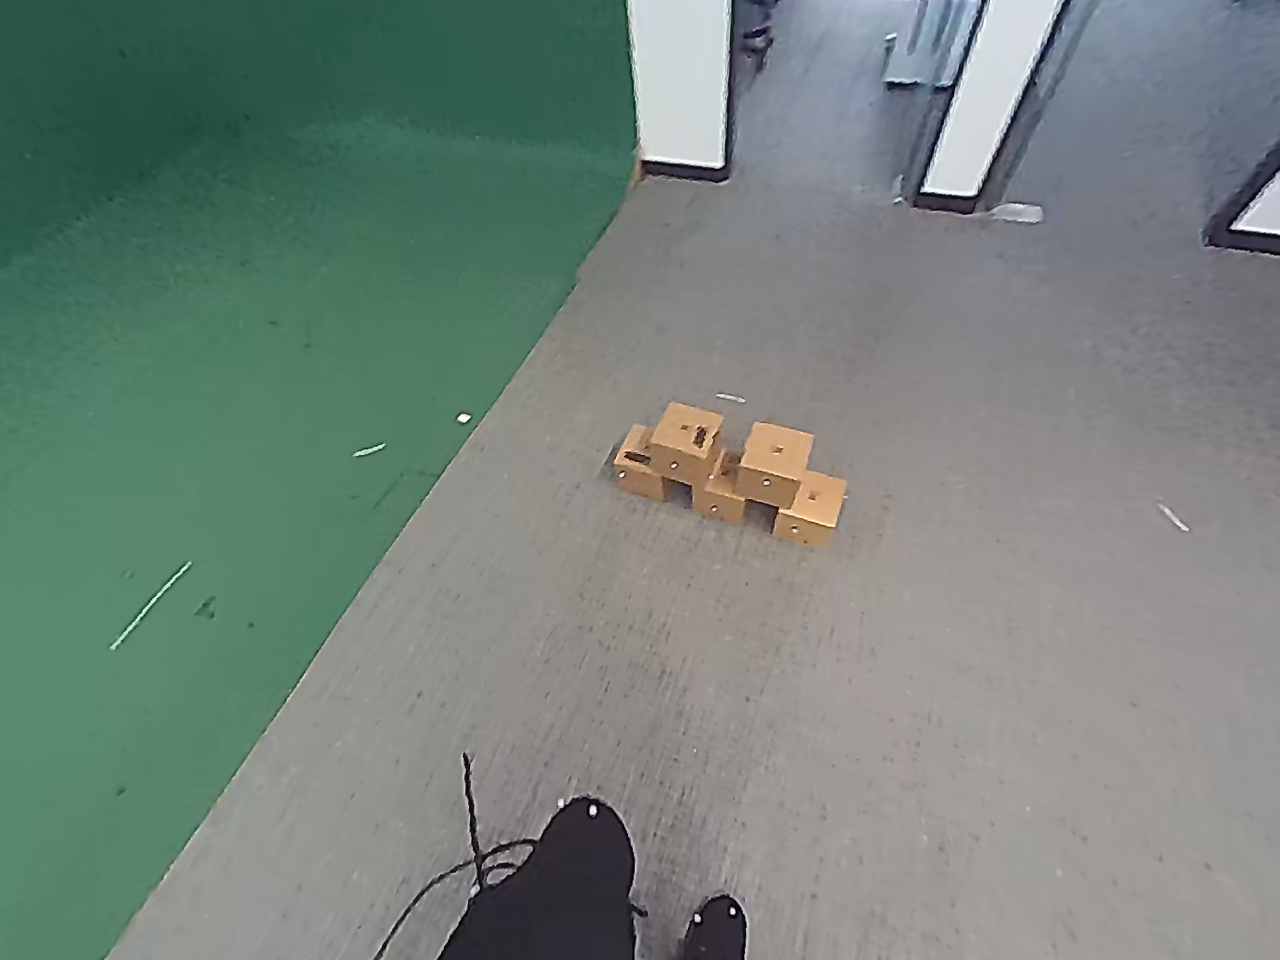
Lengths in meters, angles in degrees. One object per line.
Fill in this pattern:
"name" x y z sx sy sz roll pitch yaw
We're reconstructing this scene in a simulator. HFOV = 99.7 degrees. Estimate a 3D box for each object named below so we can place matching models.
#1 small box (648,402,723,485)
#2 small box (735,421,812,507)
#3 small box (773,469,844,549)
"small box" 0.141 -0.106 1.648 0.179 0.176 0.168 18 60 17
"small box" 0.386 -0.042 1.586 0.179 0.176 0.168 16 60 13
"small box" 0.520 0.090 1.684 0.168 0.176 0.179 17 60 16
